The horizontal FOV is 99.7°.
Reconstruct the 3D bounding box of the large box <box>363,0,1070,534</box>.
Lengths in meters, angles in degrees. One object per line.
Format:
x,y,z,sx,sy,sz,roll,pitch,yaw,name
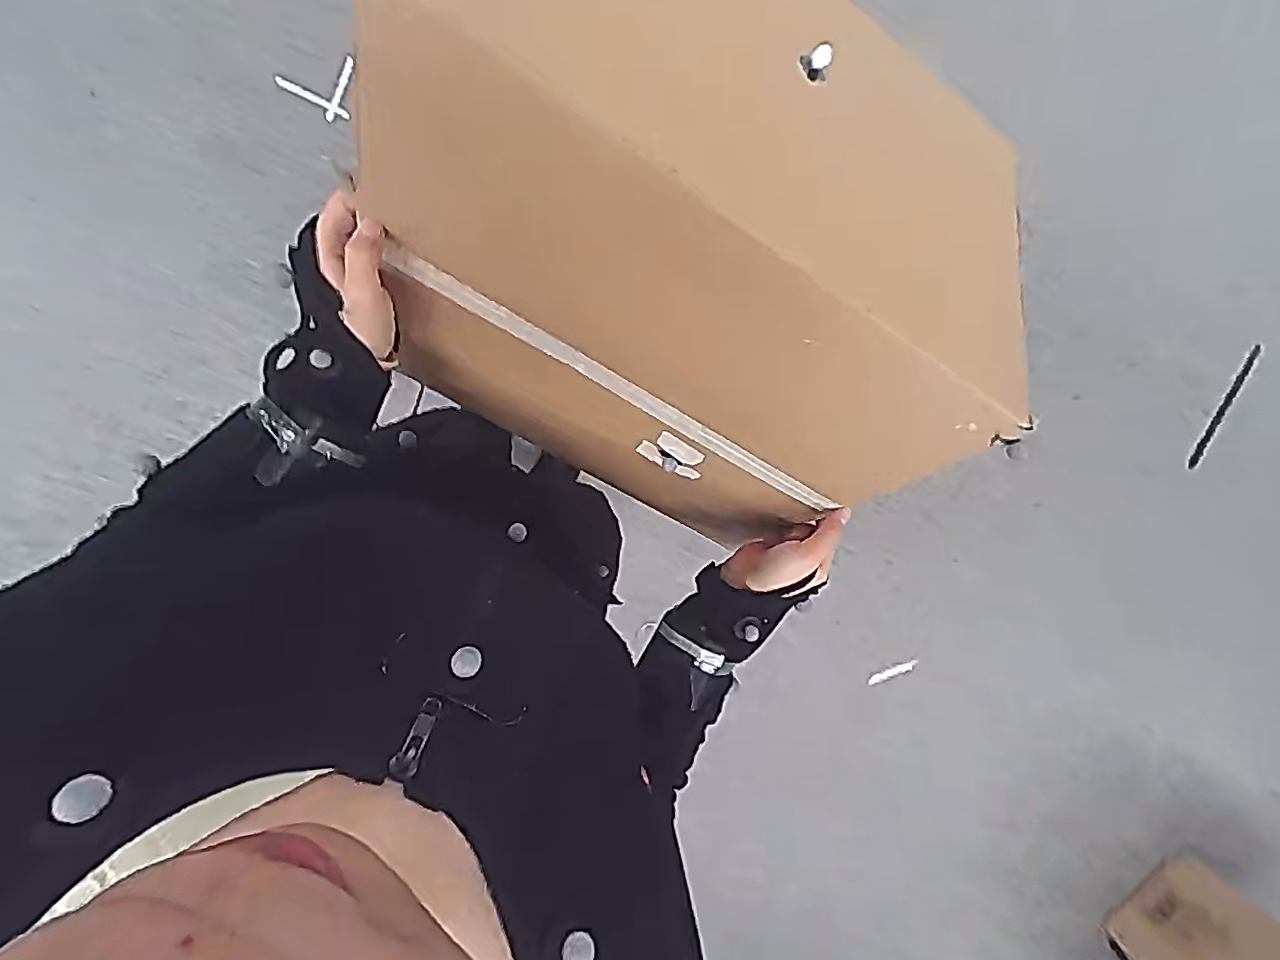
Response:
0.047,-0.207,0.450,0.408,0.320,0.320,27,62,-14,large box
